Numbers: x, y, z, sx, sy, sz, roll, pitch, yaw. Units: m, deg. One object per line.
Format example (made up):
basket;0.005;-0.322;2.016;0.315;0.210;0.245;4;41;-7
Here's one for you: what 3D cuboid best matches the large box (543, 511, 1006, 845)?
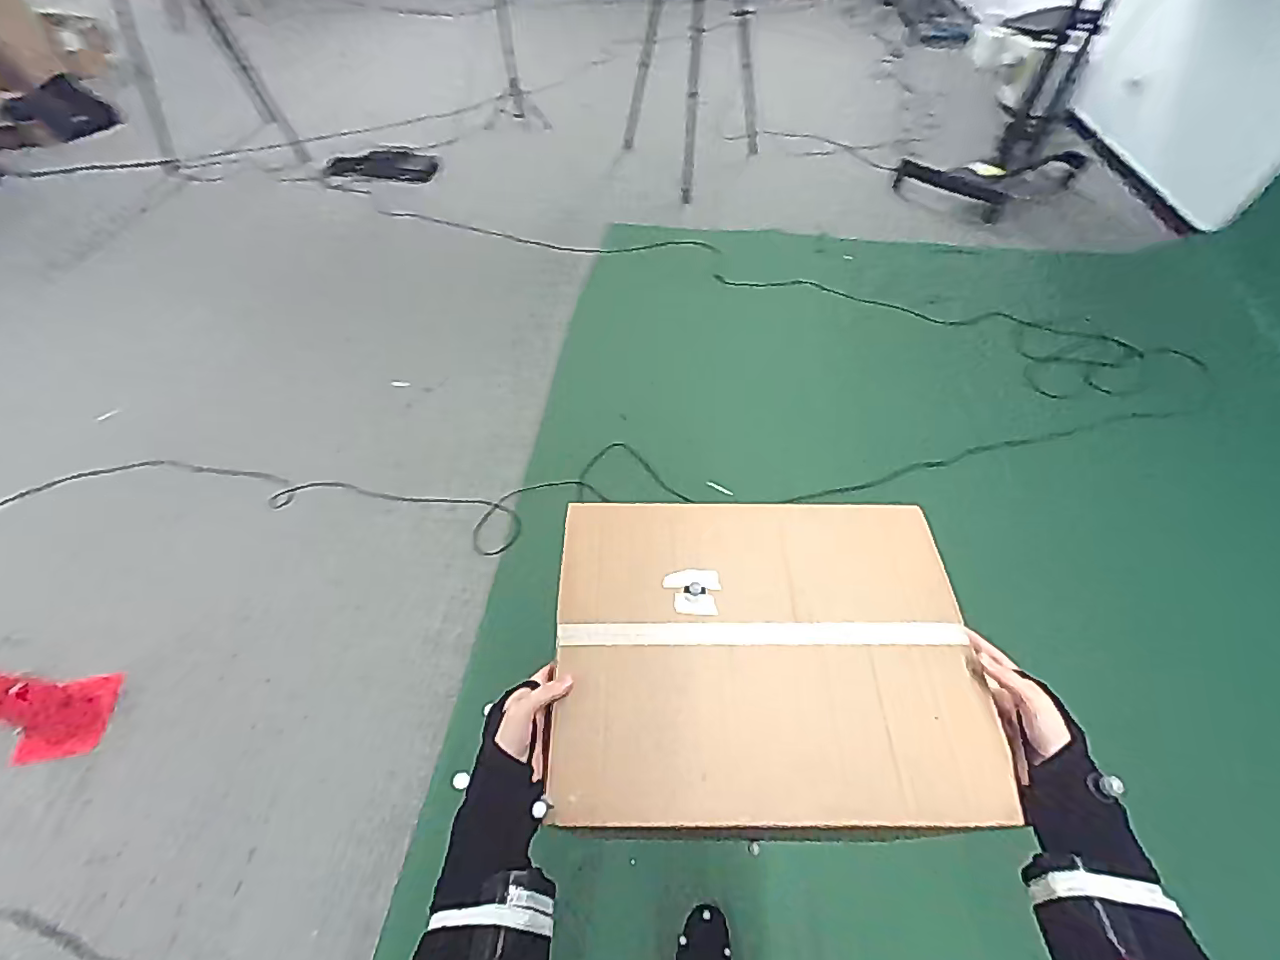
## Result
large box;0.114;0.253;0.662;0.408;0.320;0.320;-1;53;-1
